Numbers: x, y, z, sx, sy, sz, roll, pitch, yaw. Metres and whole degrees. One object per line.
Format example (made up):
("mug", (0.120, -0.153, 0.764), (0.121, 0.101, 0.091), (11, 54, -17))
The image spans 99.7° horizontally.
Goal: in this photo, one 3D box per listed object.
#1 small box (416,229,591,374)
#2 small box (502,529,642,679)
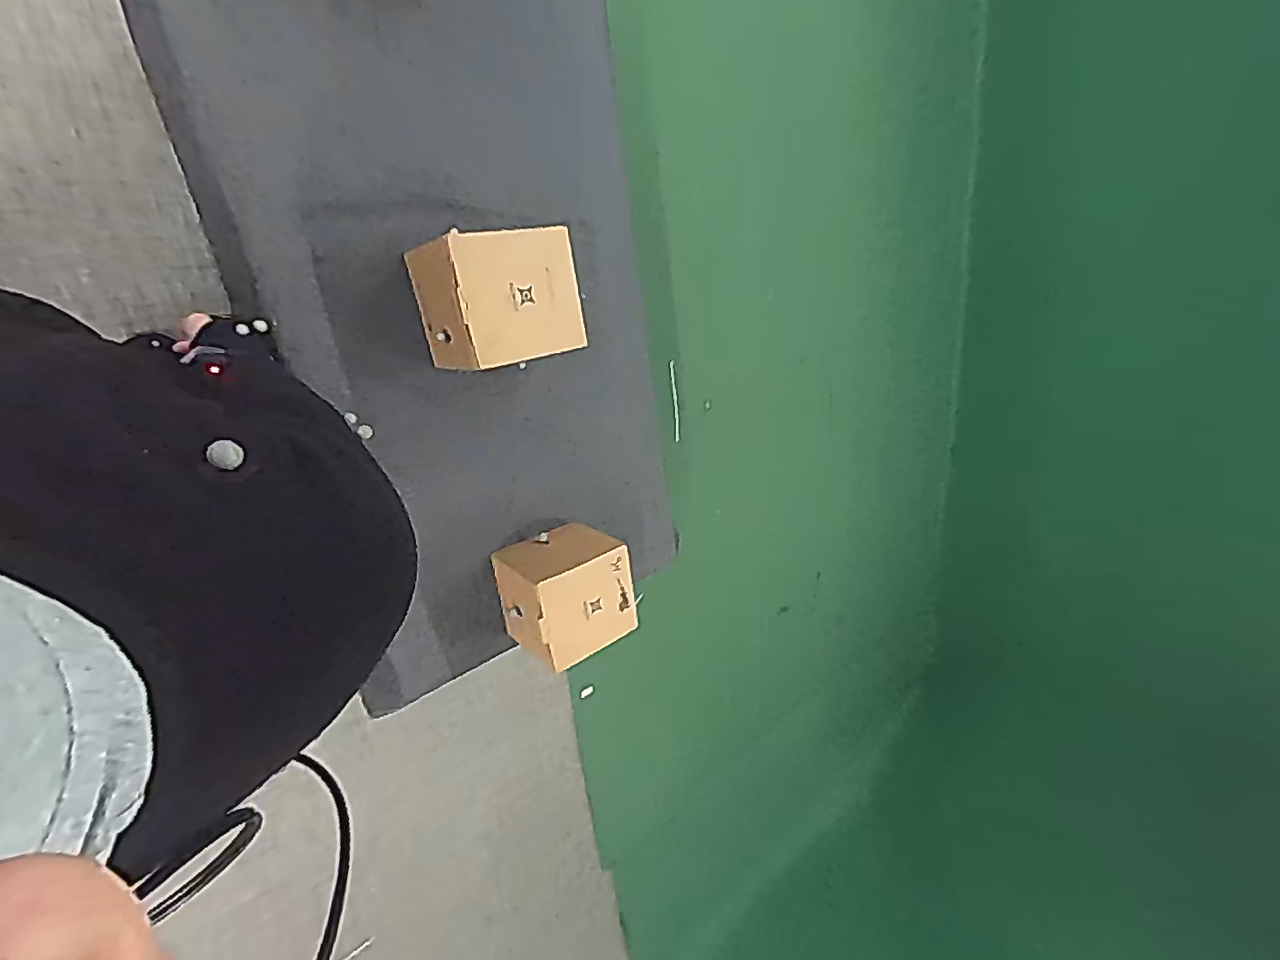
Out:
("small box", (-0.198, -0.250, 0.769), (0.179, 0.176, 0.168), (-24, 116, -34))
("small box", (-0.122, 0.201, 0.933), (0.179, 0.176, 0.168), (-20, 112, -34))
